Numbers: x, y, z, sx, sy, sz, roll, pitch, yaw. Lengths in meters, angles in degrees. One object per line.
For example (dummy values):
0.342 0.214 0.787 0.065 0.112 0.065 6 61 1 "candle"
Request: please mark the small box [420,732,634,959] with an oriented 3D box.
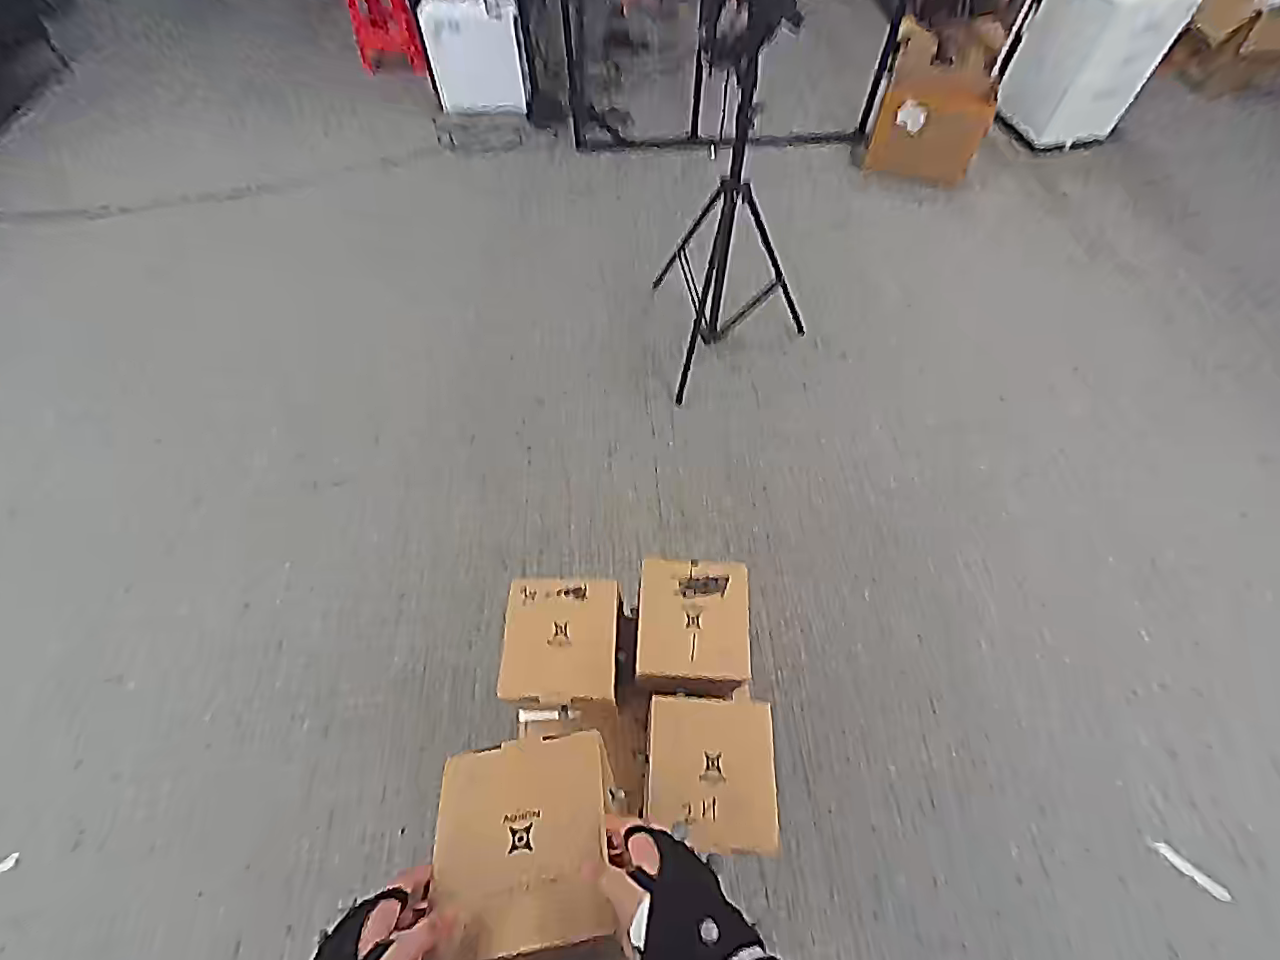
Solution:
-0.103 0.392 0.551 0.168 0.176 0.179 -10 42 -3 "small box"
